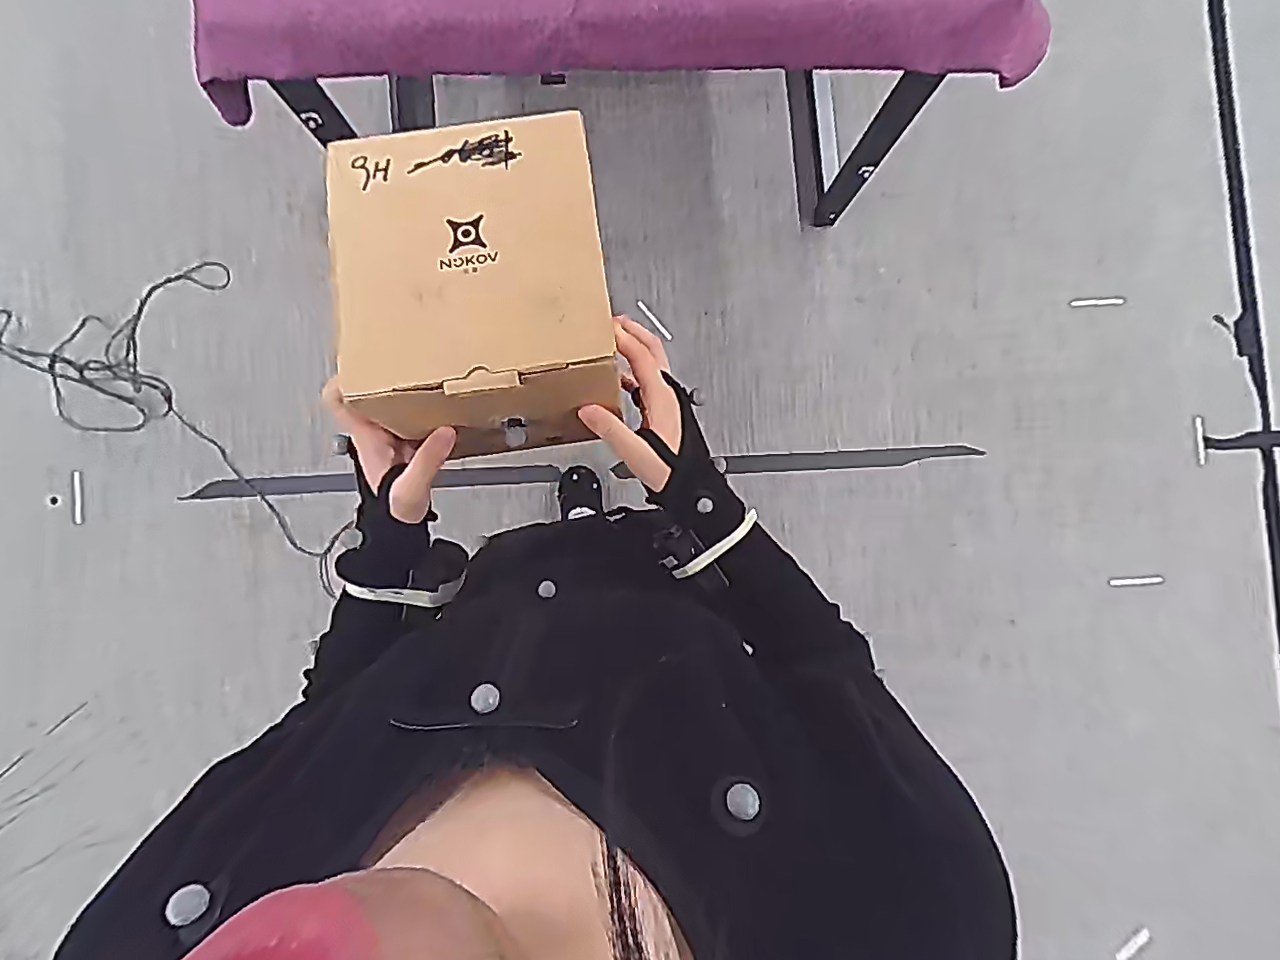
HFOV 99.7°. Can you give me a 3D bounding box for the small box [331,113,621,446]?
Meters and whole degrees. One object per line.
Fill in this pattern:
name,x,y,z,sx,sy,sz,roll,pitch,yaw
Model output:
small box,-0.106,-0.130,0.414,0.168,0.176,0.179,-8,80,-2
